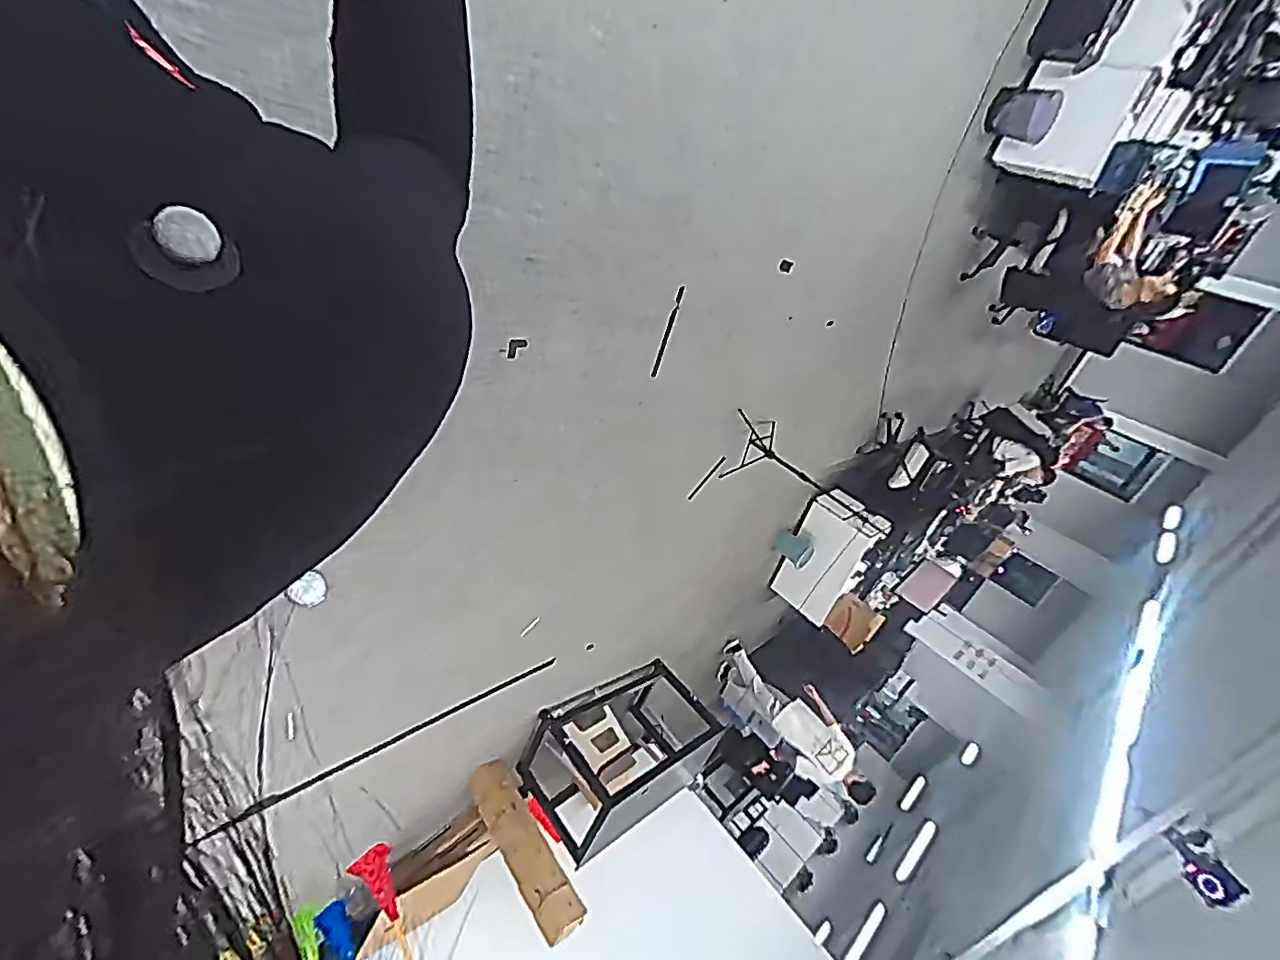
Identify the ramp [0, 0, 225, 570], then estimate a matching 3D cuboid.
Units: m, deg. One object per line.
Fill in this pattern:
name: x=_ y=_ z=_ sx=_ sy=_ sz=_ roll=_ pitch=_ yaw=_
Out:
ramp: x=-1.123 y=-0.299 z=0.968 sx=0.509 sy=0.206 sz=0.991 roll=-15 pitch=132 yaw=-41
